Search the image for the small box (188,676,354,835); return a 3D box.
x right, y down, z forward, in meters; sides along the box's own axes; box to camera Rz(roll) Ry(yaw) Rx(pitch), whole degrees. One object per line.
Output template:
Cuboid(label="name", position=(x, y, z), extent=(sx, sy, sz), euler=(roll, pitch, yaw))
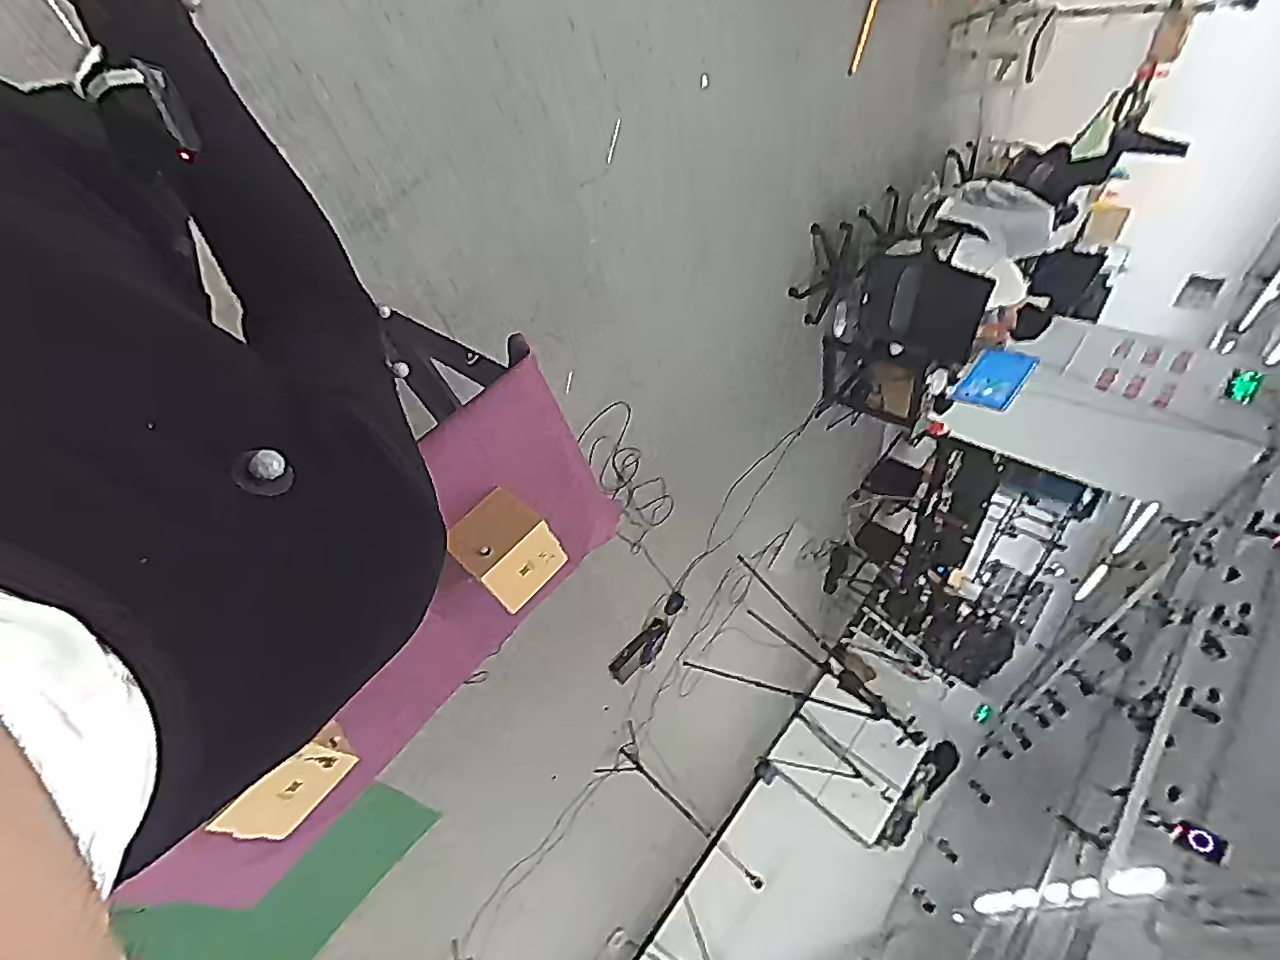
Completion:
Cuboid(label="small box", position=(-0.678, 0.501, 0.990), extent=(0.179, 0.176, 0.168), euler=(-46, 144, -19))

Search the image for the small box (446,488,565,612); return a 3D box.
Cuboid(label="small box", position=(-0.303, 0.152, 1.204), extent=(0.179, 0.176, 0.168), euler=(-44, 143, -21))
